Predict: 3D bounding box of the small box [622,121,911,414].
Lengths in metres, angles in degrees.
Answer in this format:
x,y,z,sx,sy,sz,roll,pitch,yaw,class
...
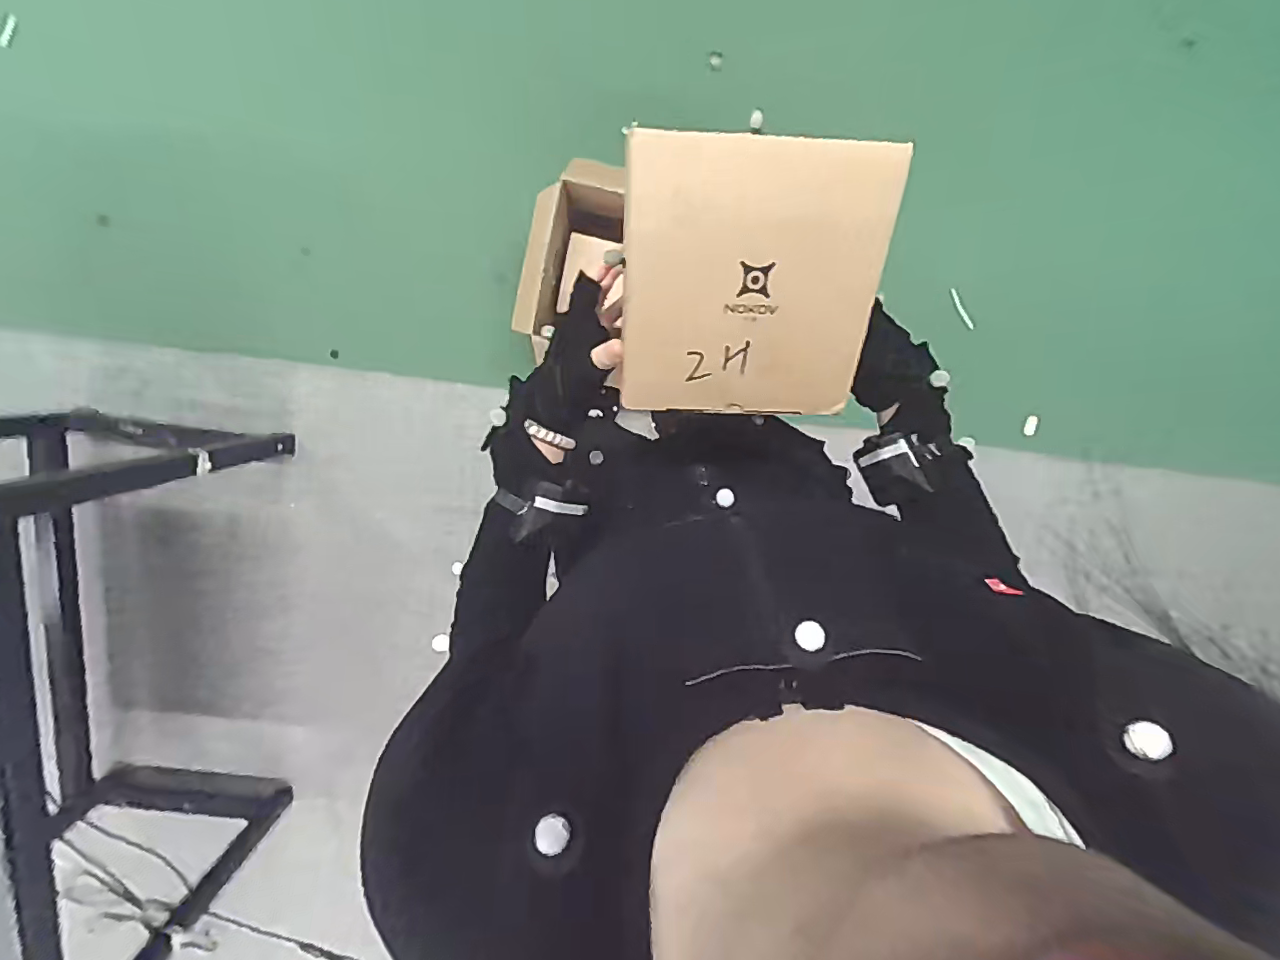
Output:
x,y,z,sx,sy,sz,roll,pitch,yaw,class
0.071,-0.166,0.420,0.168,0.176,0.179,1,121,-2,small box
